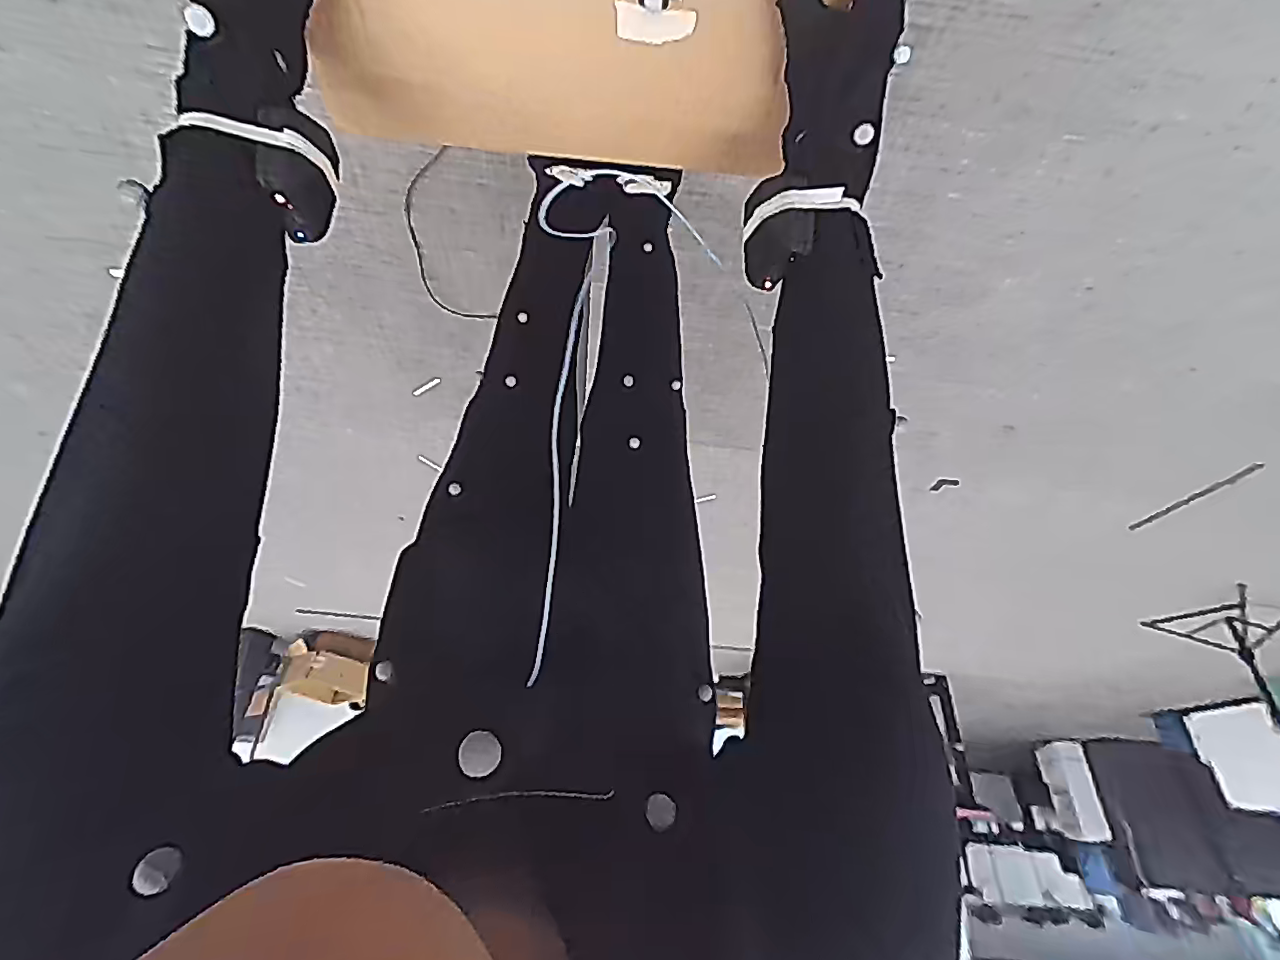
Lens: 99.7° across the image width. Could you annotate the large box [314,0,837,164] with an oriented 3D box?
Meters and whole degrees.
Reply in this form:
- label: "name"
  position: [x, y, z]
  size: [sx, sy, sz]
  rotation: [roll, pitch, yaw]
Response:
- label: "large box"
  position: [-0.043, -0.509, 0.463]
  size: [0.408, 0.320, 0.320]
  rotation: [5, 141, -1]
